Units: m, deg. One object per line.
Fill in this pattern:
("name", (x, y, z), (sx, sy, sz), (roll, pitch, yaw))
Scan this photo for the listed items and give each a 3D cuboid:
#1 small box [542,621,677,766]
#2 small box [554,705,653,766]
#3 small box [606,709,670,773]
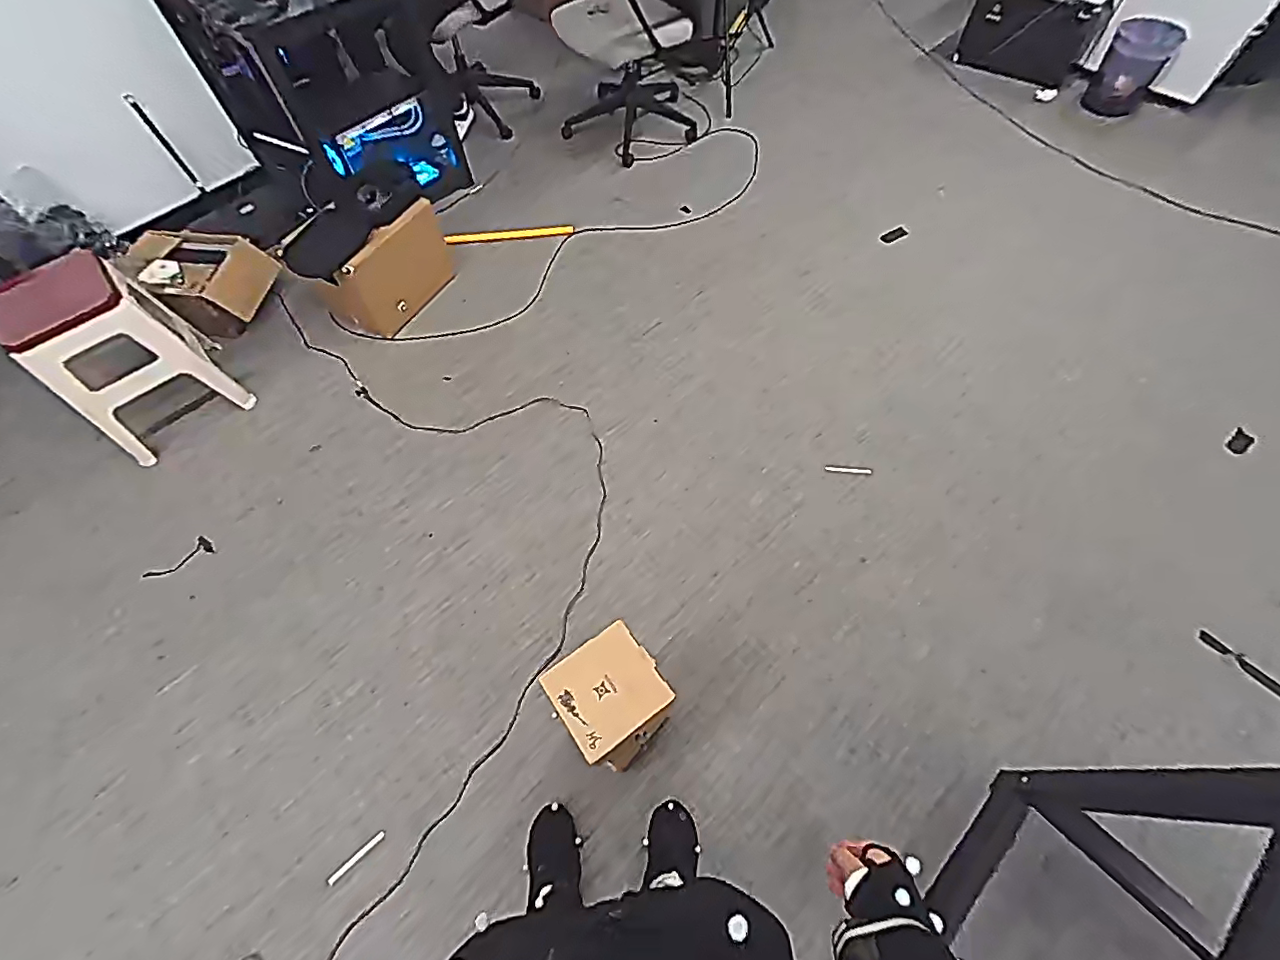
("small box", (-0.054, 0.389, 0.980), (0.179, 0.176, 0.168), (-33, 65, -16))
("small box", (-0.051, 0.468, 1.124), (0.168, 0.176, 0.179), (36, 67, 18))
("small box", (-0.049, 0.551, 1.263), (0.168, 0.176, 0.179), (39, 70, 21))
